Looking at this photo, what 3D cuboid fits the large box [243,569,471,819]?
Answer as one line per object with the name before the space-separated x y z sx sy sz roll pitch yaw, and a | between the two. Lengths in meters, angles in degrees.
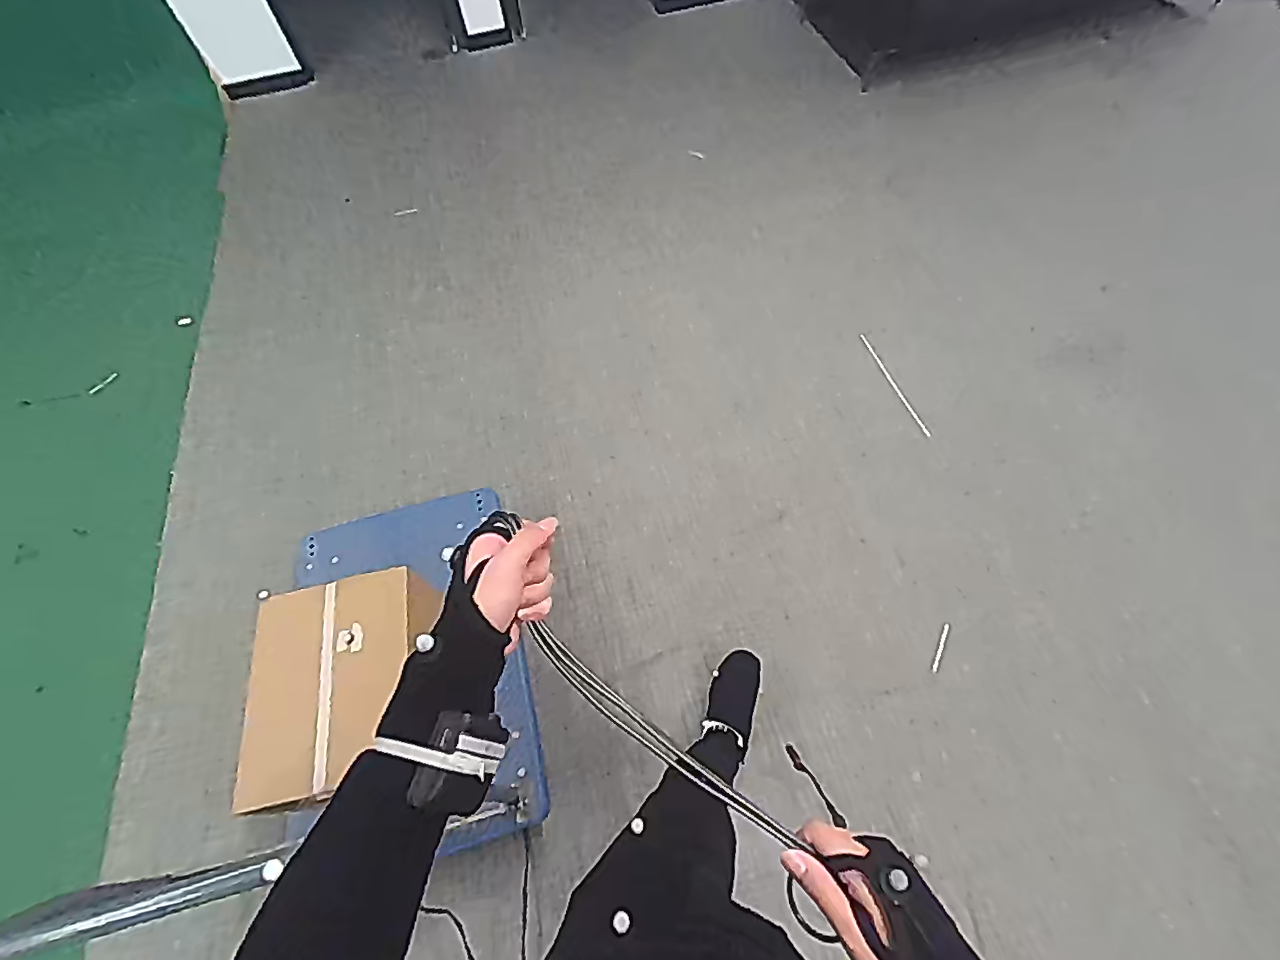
large box | -0.580 0.461 1.172 0.320 0.320 0.408 -13 60 -4
